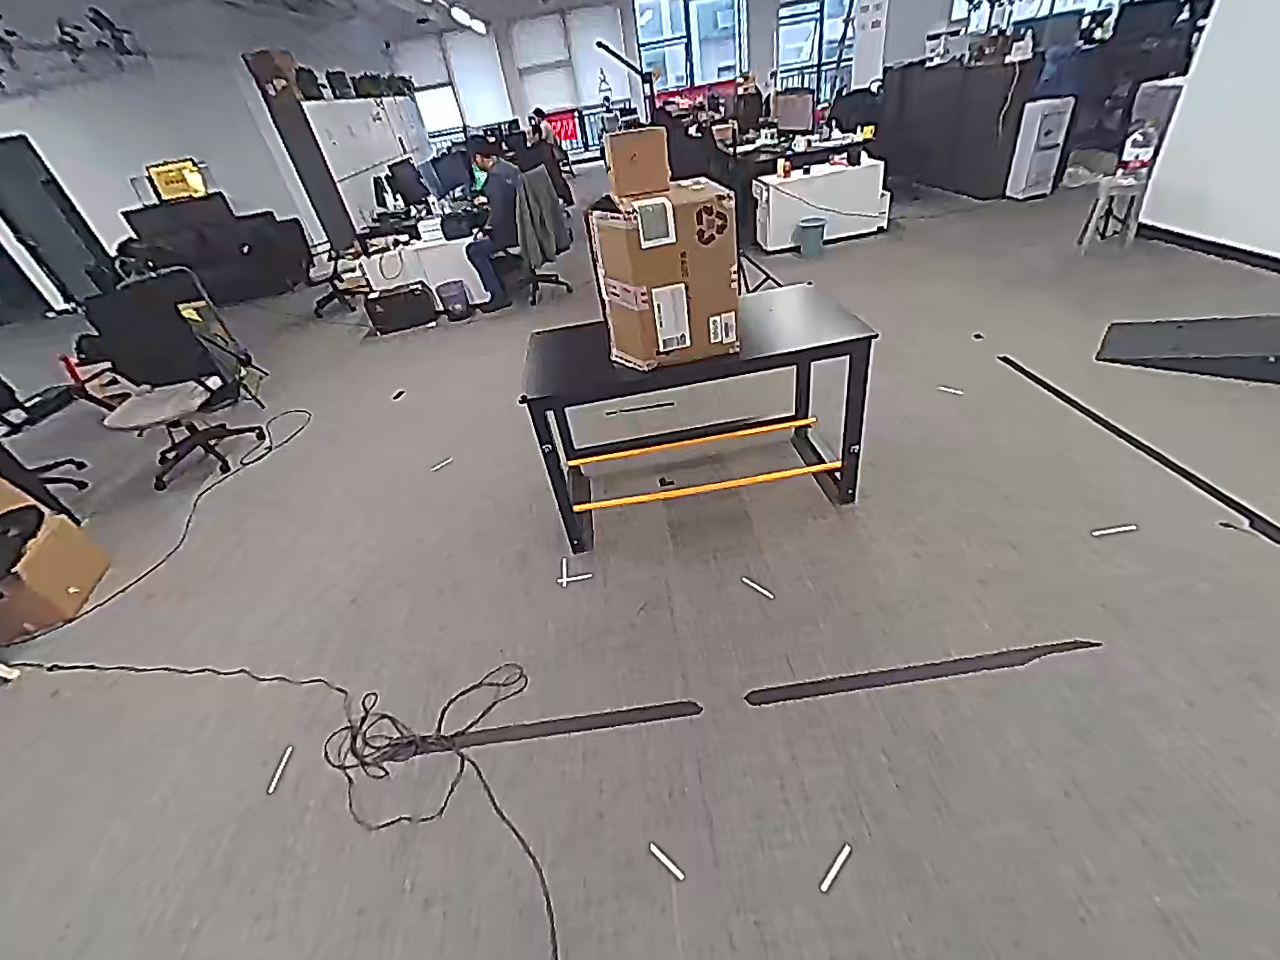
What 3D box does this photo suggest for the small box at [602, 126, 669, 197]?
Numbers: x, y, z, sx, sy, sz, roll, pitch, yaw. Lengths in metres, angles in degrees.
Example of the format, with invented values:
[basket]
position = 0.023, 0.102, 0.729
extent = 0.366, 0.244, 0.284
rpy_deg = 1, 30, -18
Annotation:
[small box]
position = -0.015, -1.009, 1.716
extent = 0.179, 0.176, 0.168
rpy_deg = -11, 34, -3
